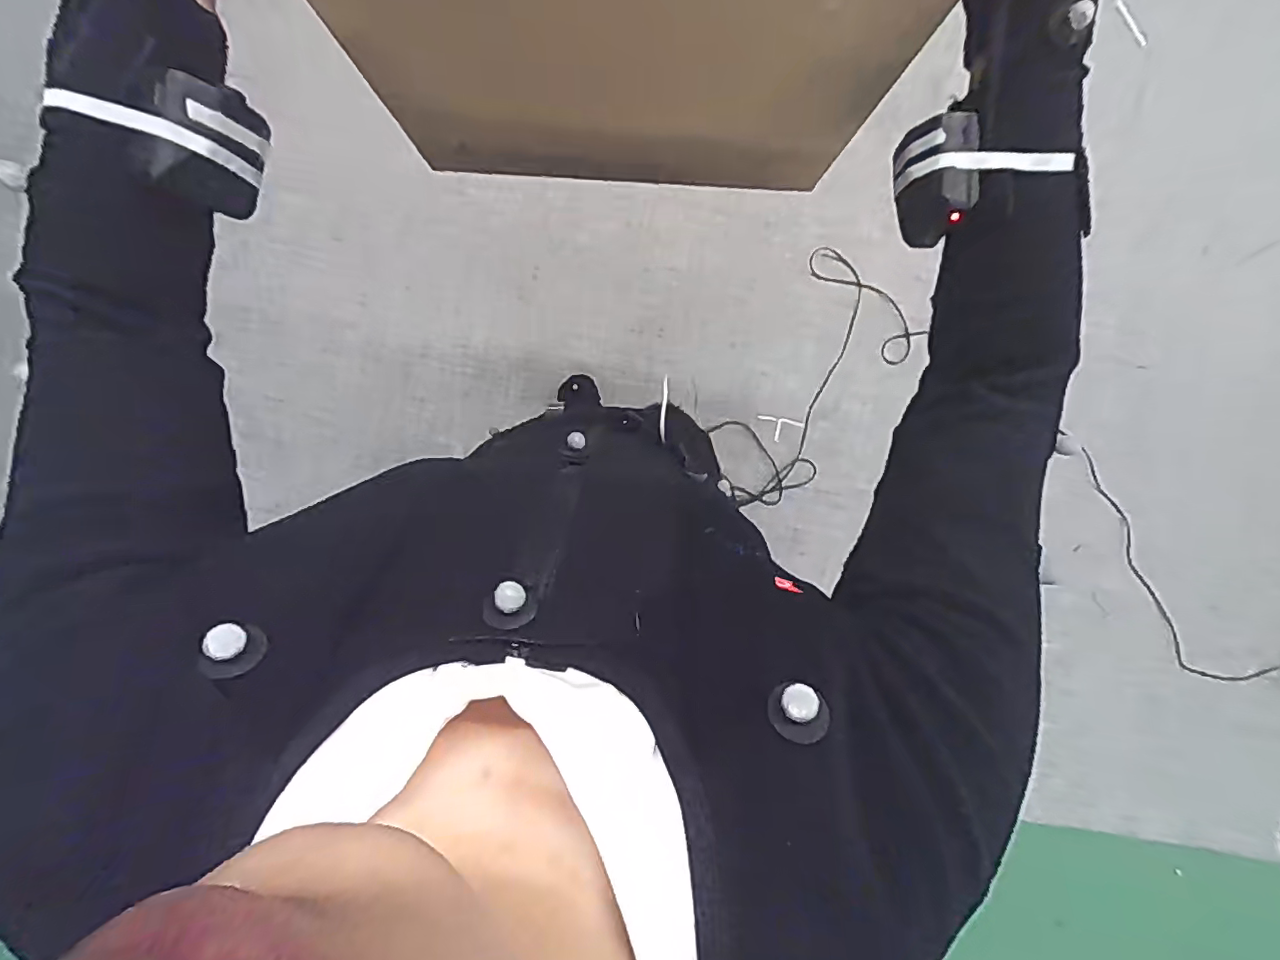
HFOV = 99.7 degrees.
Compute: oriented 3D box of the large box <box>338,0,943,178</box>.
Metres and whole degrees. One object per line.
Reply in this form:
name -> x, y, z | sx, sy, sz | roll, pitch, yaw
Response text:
large box -> -0.004, -0.463, 0.410 | 0.408, 0.320, 0.320 | 2, 96, -3
